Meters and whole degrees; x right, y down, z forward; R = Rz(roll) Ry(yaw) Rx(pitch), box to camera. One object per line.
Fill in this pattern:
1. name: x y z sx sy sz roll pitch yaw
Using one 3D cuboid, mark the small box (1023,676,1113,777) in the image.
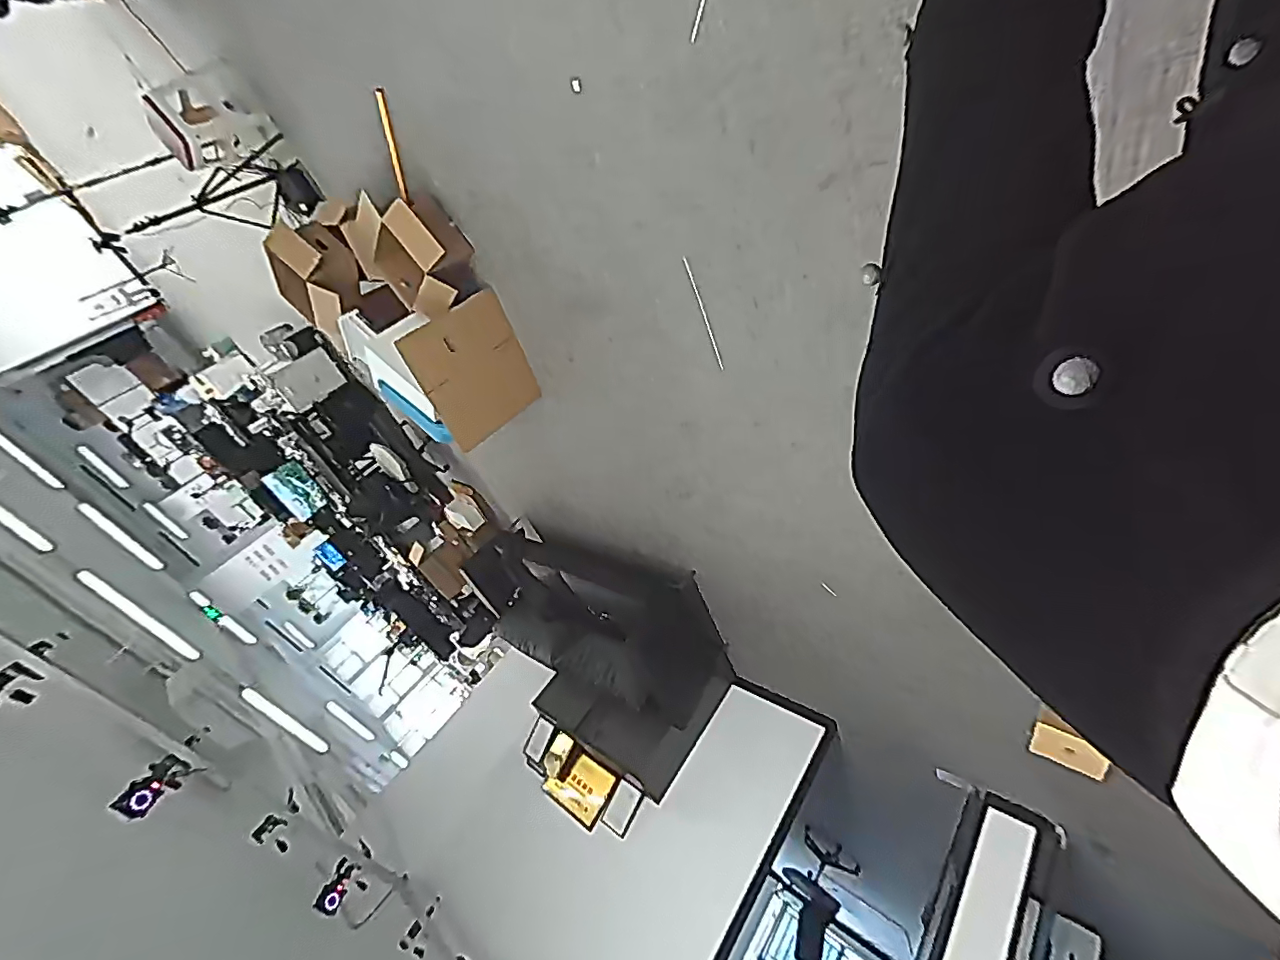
1. small box: 1.208 0.689 1.527 0.168 0.176 0.179 15 140 38
